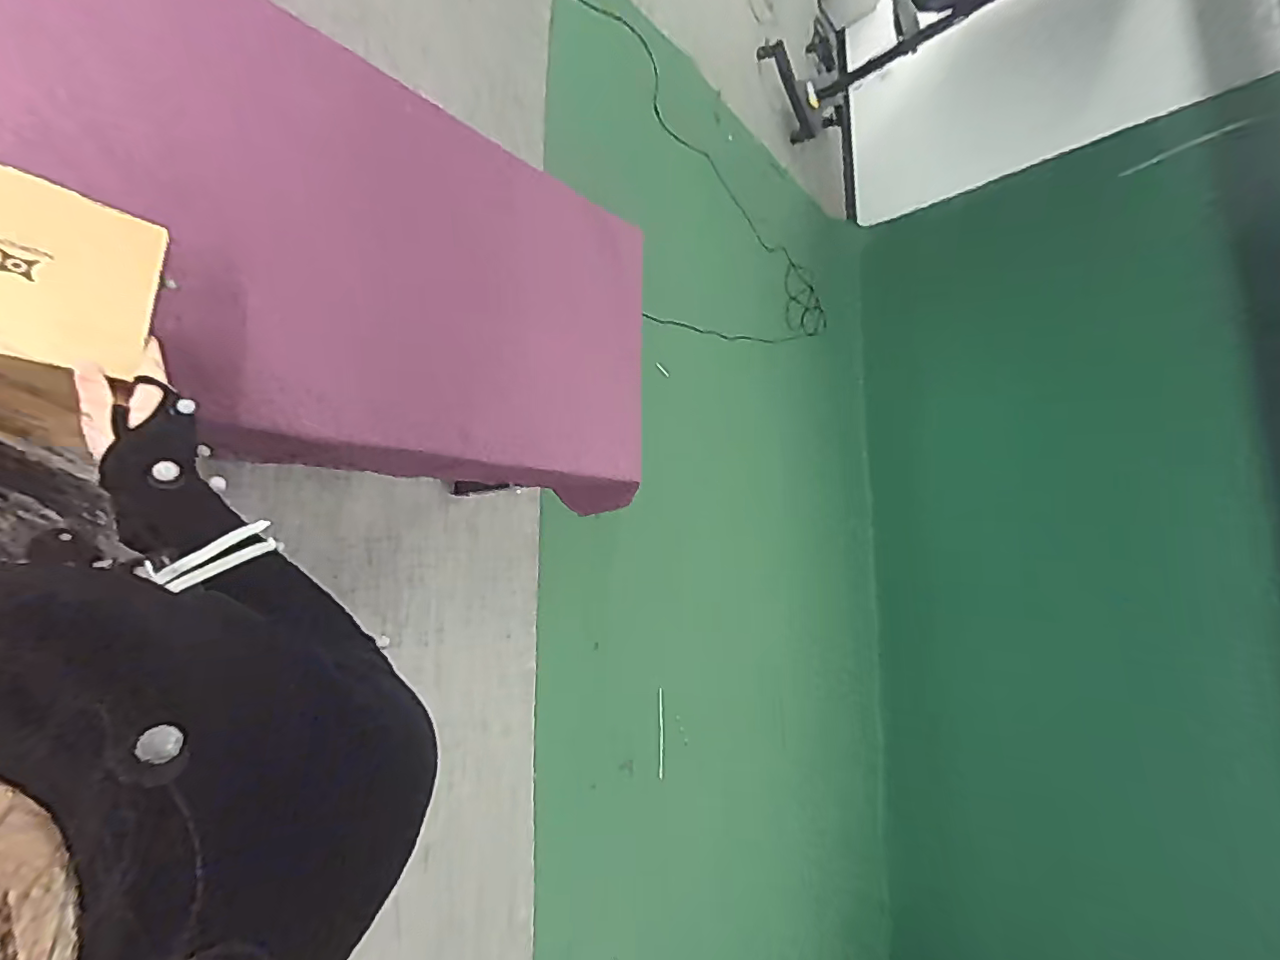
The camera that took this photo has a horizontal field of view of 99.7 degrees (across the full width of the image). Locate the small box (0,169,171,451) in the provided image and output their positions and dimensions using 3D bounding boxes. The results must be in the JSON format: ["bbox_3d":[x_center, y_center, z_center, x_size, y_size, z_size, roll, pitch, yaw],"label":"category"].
[{"bbox_3d":[-0.550,-0.144,0.481,0.168,0.176,0.179,13,59,-45],"label":"small box"}]
